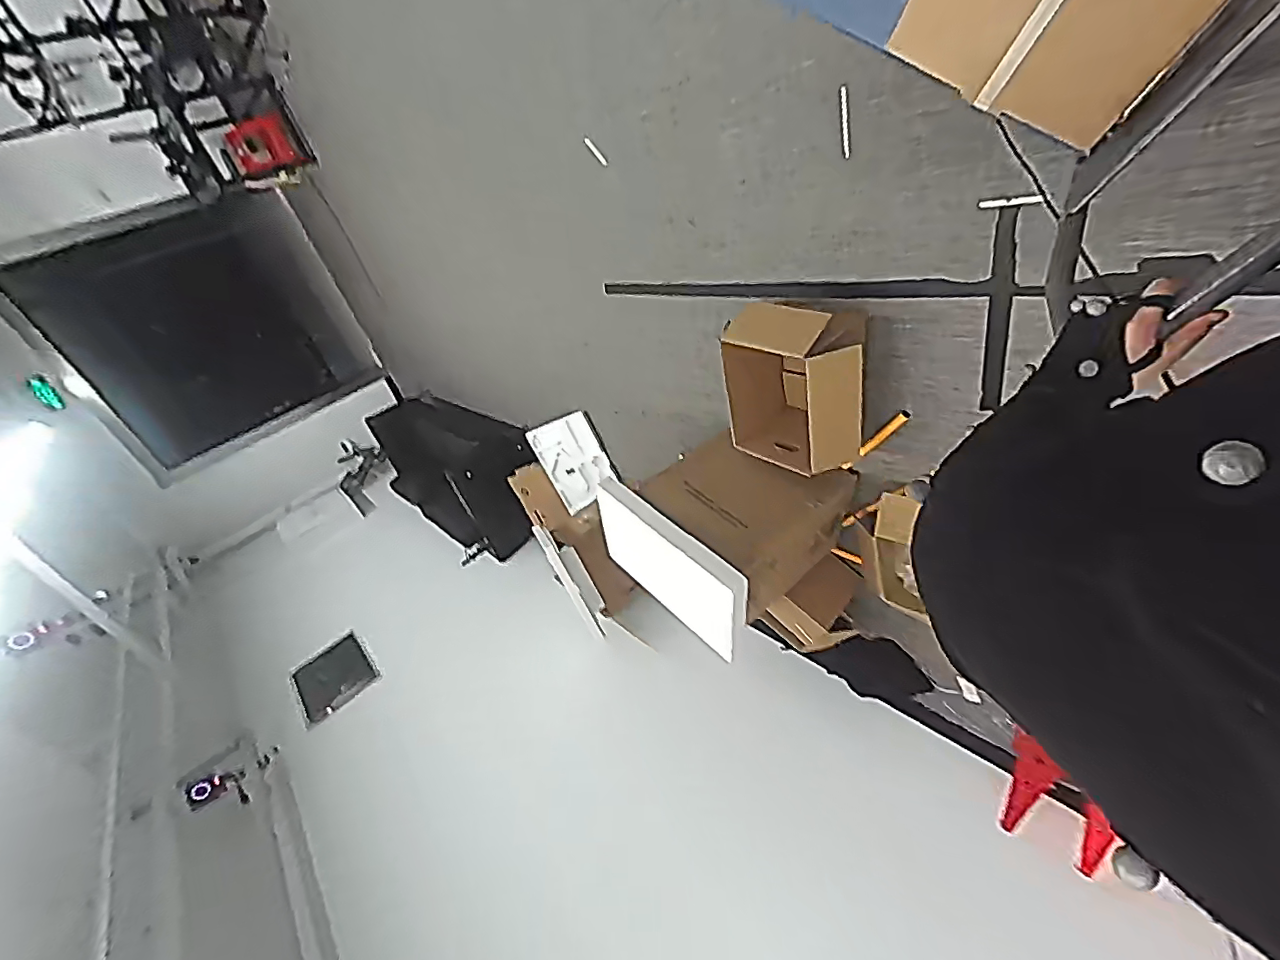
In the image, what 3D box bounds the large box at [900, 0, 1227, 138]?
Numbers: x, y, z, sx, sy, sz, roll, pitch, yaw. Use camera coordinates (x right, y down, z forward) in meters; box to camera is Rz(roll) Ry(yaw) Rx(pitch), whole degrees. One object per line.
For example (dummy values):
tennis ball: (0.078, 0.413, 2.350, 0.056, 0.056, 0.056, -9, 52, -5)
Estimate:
large box: (0.600, -0.727, 0.644, 0.320, 0.320, 0.408, 34, 150, 8)
